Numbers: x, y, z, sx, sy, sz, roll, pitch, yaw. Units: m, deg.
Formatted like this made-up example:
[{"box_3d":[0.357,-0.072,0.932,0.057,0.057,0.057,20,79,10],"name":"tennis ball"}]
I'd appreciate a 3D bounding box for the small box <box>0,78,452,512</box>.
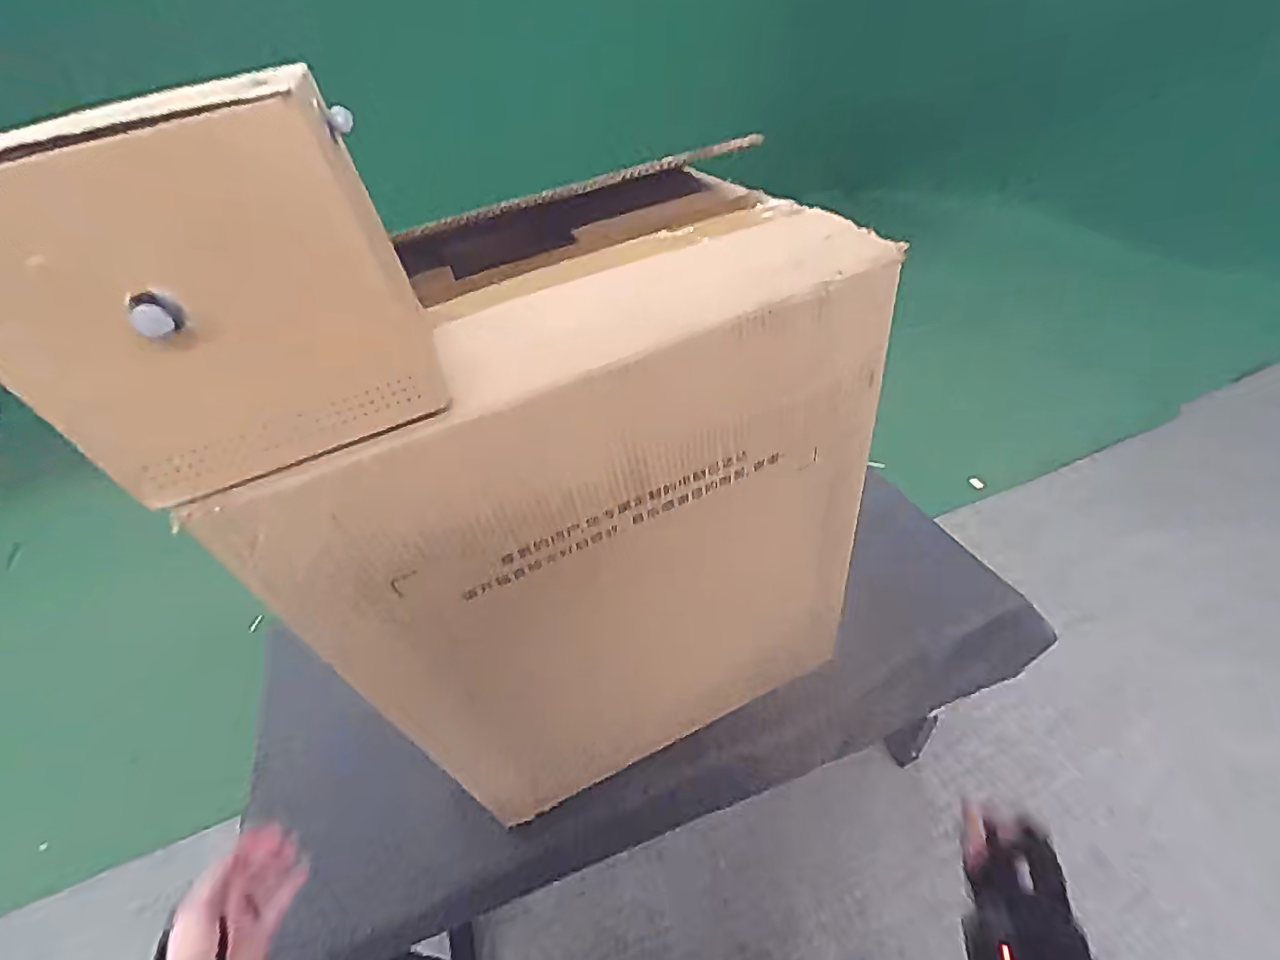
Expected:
[{"box_3d":[-0.236,-0.109,0.320,0.179,0.176,0.168,-23,46,-10],"name":"small box"}]
